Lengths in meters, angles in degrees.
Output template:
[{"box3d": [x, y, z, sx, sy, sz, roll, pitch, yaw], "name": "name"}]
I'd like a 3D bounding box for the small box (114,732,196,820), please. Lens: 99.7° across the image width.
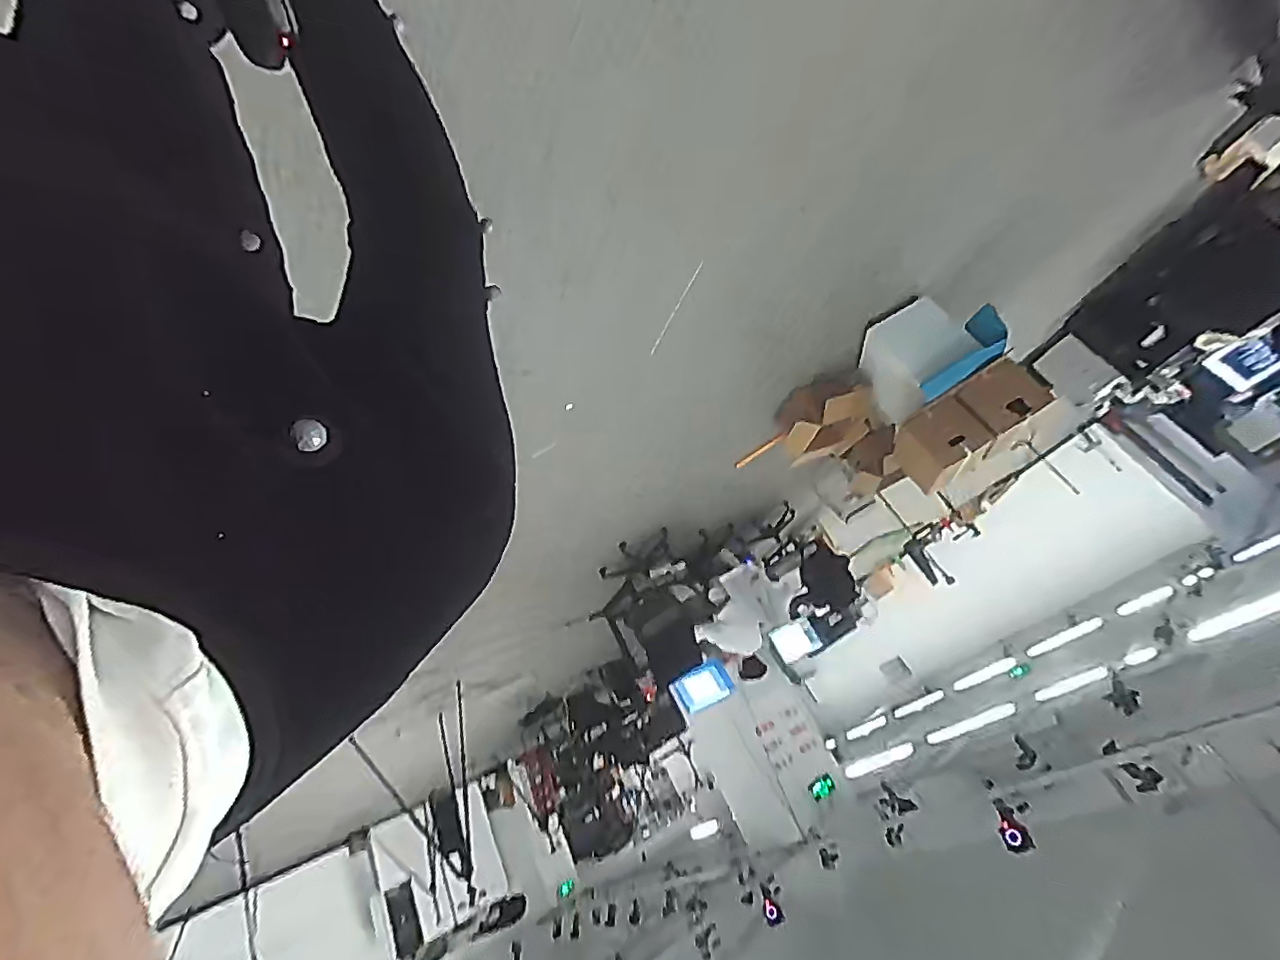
[{"box3d": [-1.471, 0.897, 1.648, 0.168, 0.176, 0.179, -8, 146, -36], "name": "small box"}]
